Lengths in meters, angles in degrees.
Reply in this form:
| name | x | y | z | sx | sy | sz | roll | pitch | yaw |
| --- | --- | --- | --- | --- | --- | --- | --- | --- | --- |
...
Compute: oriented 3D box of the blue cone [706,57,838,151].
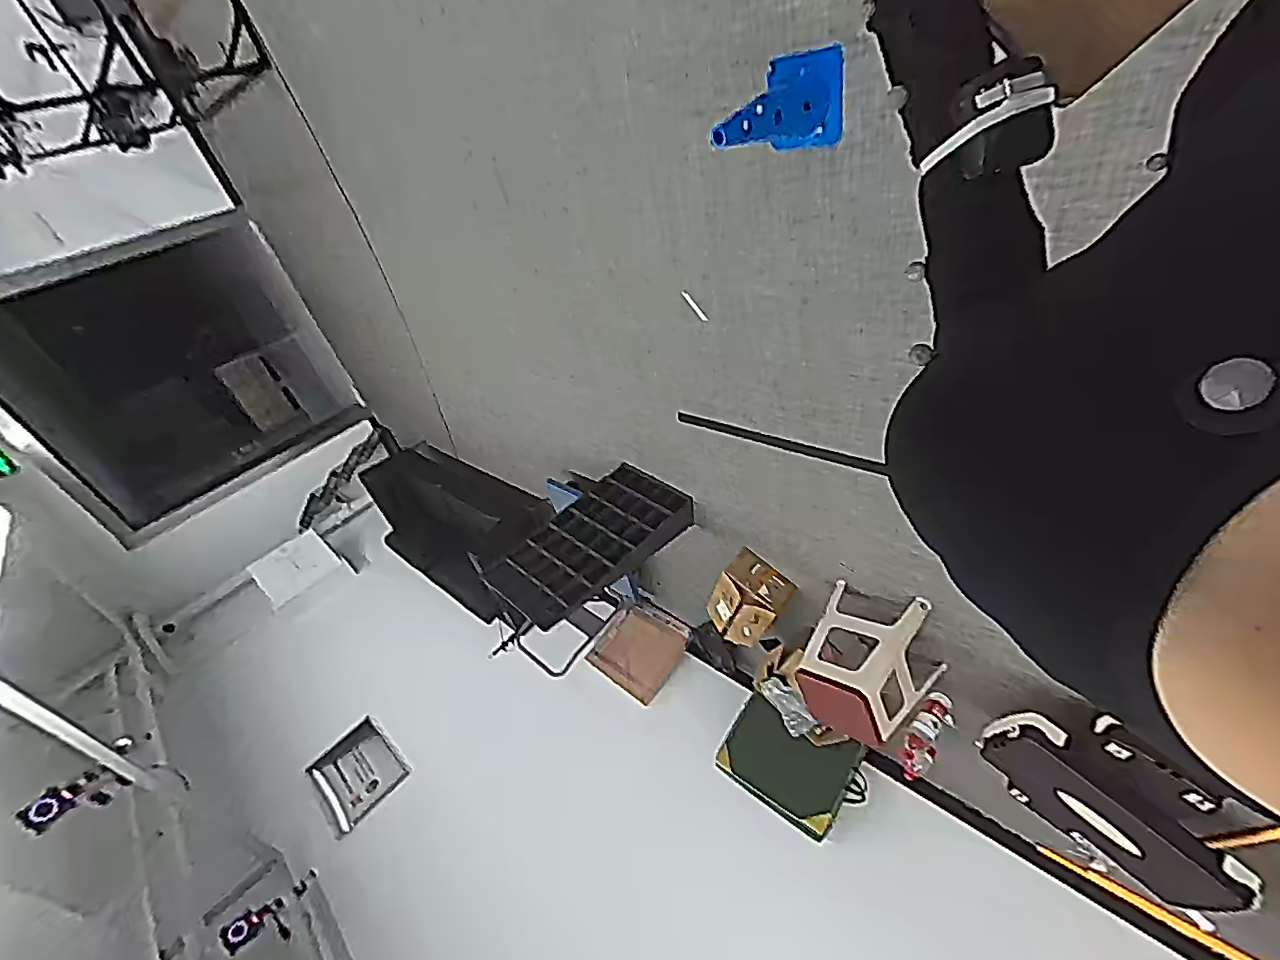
| name | x | y | z | sx | sy | sz | roll | pitch | yaw |
| --- | --- | --- | --- | --- | --- | --- | --- | --- | --- |
| blue cone | 0.293 | -0.844 | 1.272 | 0.192 | 0.380 | 0.193 | 25 | 142 | 39 |
